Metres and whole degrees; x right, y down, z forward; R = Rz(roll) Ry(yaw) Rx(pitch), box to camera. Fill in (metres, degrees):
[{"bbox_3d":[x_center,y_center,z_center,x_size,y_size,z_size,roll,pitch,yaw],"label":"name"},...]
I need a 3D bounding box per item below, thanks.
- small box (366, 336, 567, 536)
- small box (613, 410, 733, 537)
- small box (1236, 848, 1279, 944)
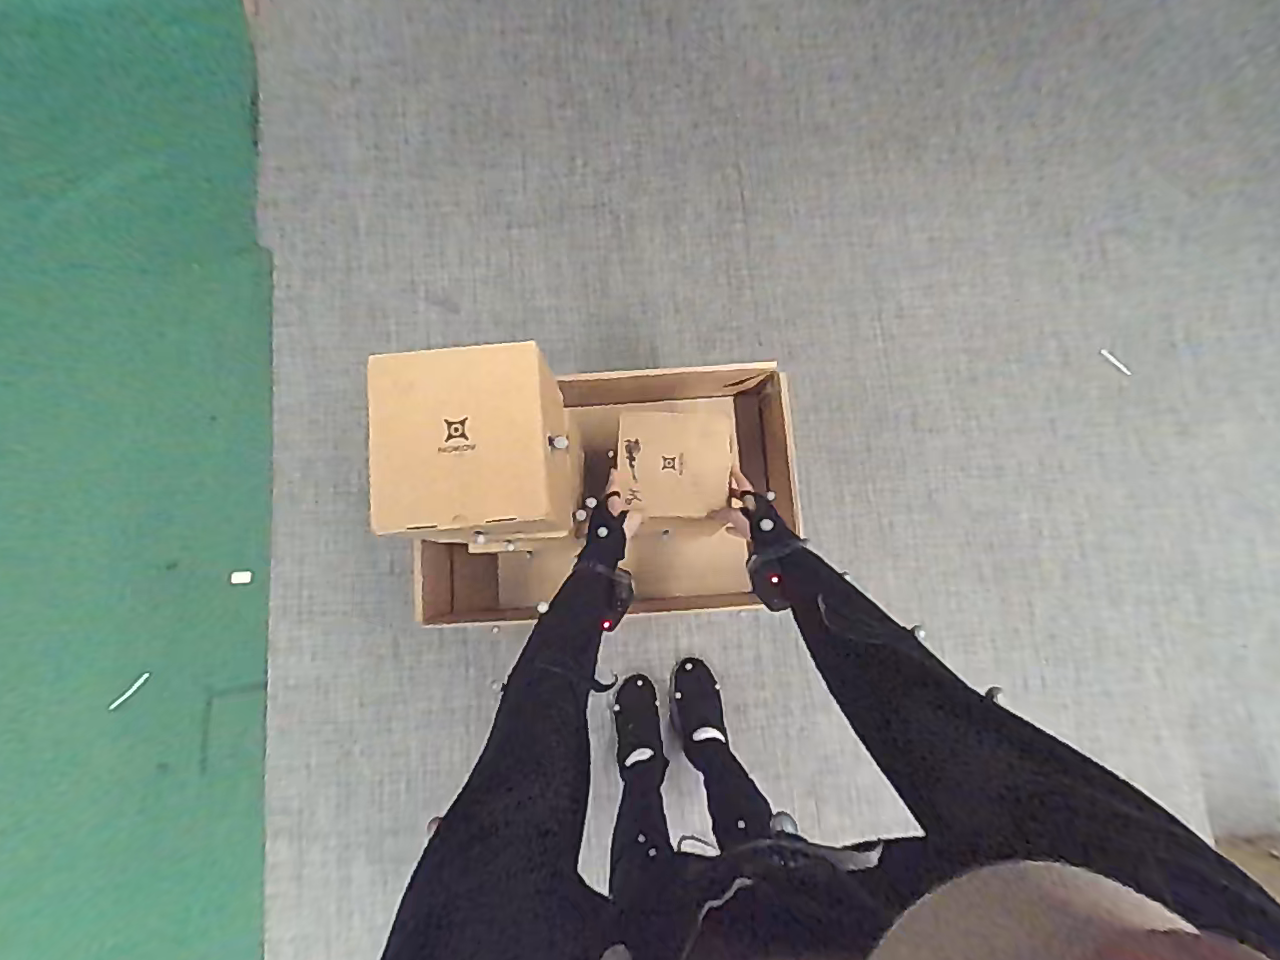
[{"bbox_3d":[-0.175,-0.036,0.585,0.168,0.176,0.179,-5,82,-1],"label":"small box"},{"bbox_3d":[0.049,-0.003,0.881,0.179,0.176,0.168,3,75,-1],"label":"small box"},{"bbox_3d":[1.481,0.935,1.183,0.168,0.176,0.179,-6,81,0],"label":"small box"}]
